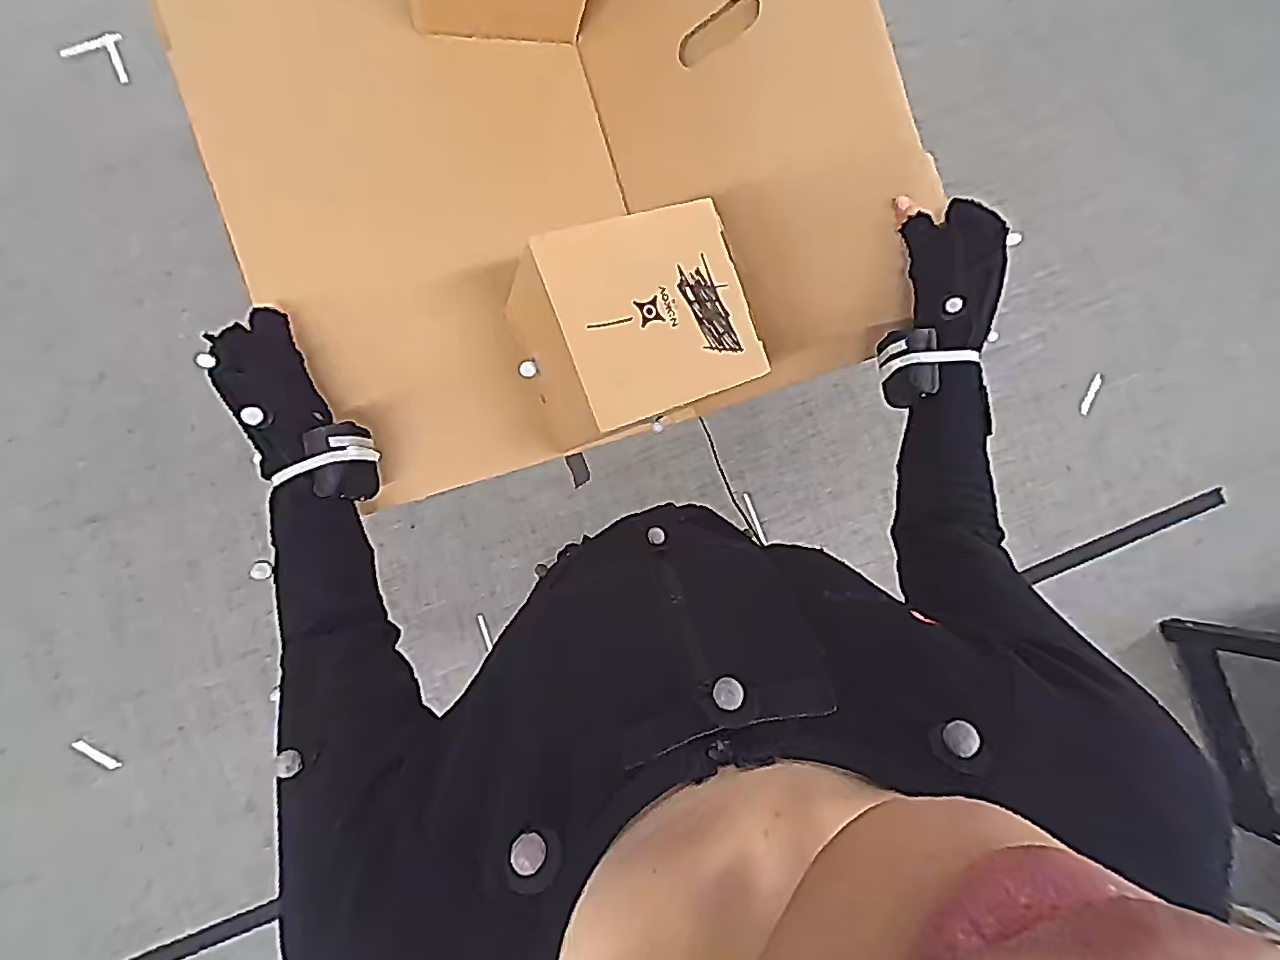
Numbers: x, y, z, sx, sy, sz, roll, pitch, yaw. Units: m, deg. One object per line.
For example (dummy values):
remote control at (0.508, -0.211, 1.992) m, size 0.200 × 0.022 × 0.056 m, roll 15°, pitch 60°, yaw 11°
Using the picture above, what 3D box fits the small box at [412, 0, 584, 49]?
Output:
small box at (-0.143, -0.562, 0.520) m, size 0.179 × 0.176 × 0.168 m, roll -13°, pitch 90°, yaw -21°
